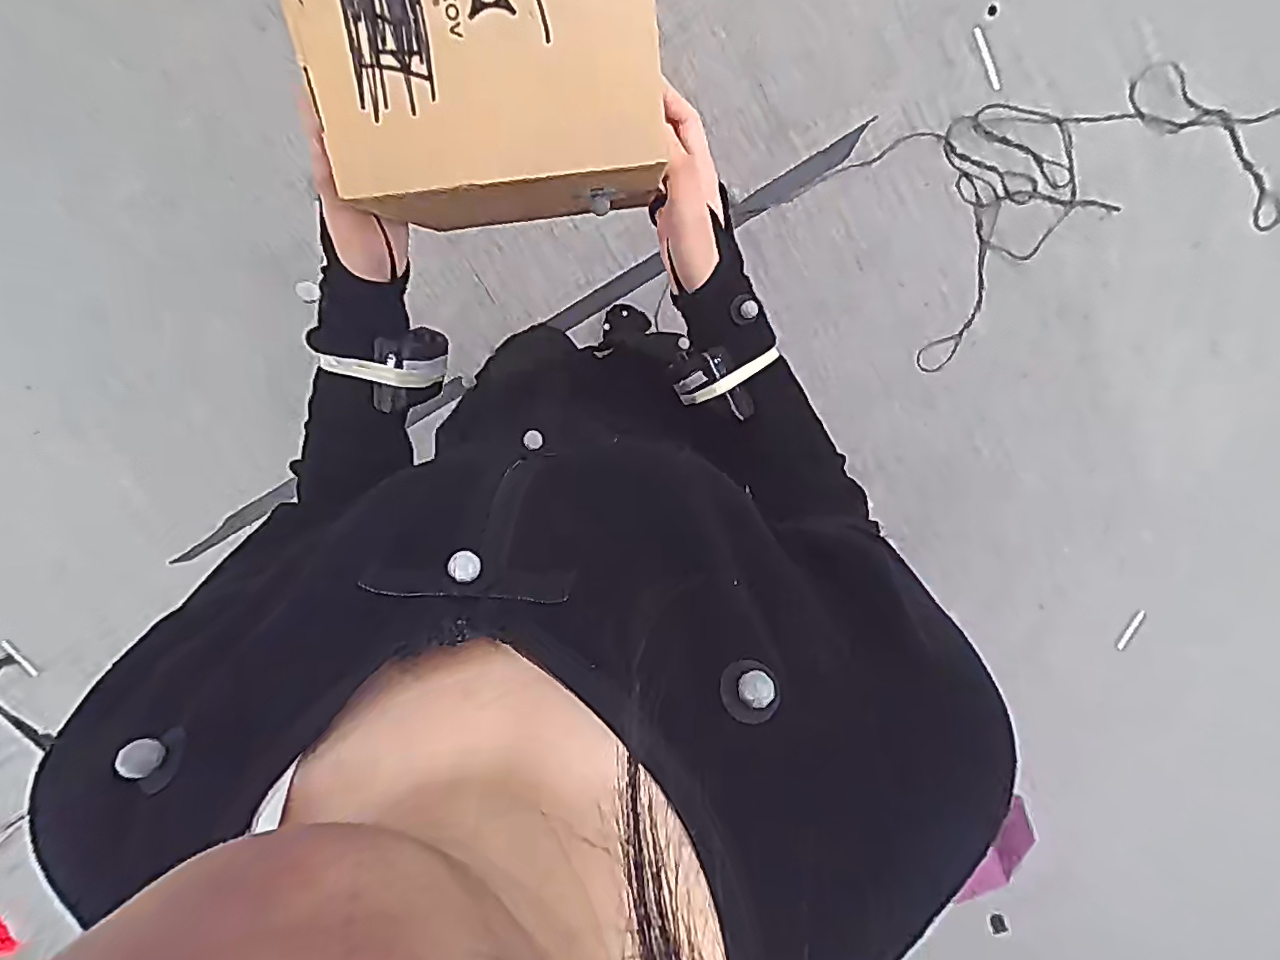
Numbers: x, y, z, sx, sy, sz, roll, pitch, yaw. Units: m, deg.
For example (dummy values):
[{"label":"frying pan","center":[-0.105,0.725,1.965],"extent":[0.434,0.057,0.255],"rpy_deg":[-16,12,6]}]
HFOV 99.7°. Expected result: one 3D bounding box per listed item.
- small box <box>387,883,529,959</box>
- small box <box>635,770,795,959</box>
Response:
[{"label":"small box","center":[-0.304,0.822,0.889],"extent":[0.168,0.176,0.179],"rpy_deg":[-27,103,7]},{"label":"small box","center":[0.106,0.588,0.821],"extent":[0.179,0.176,0.168],"rpy_deg":[-26,105,7]}]
